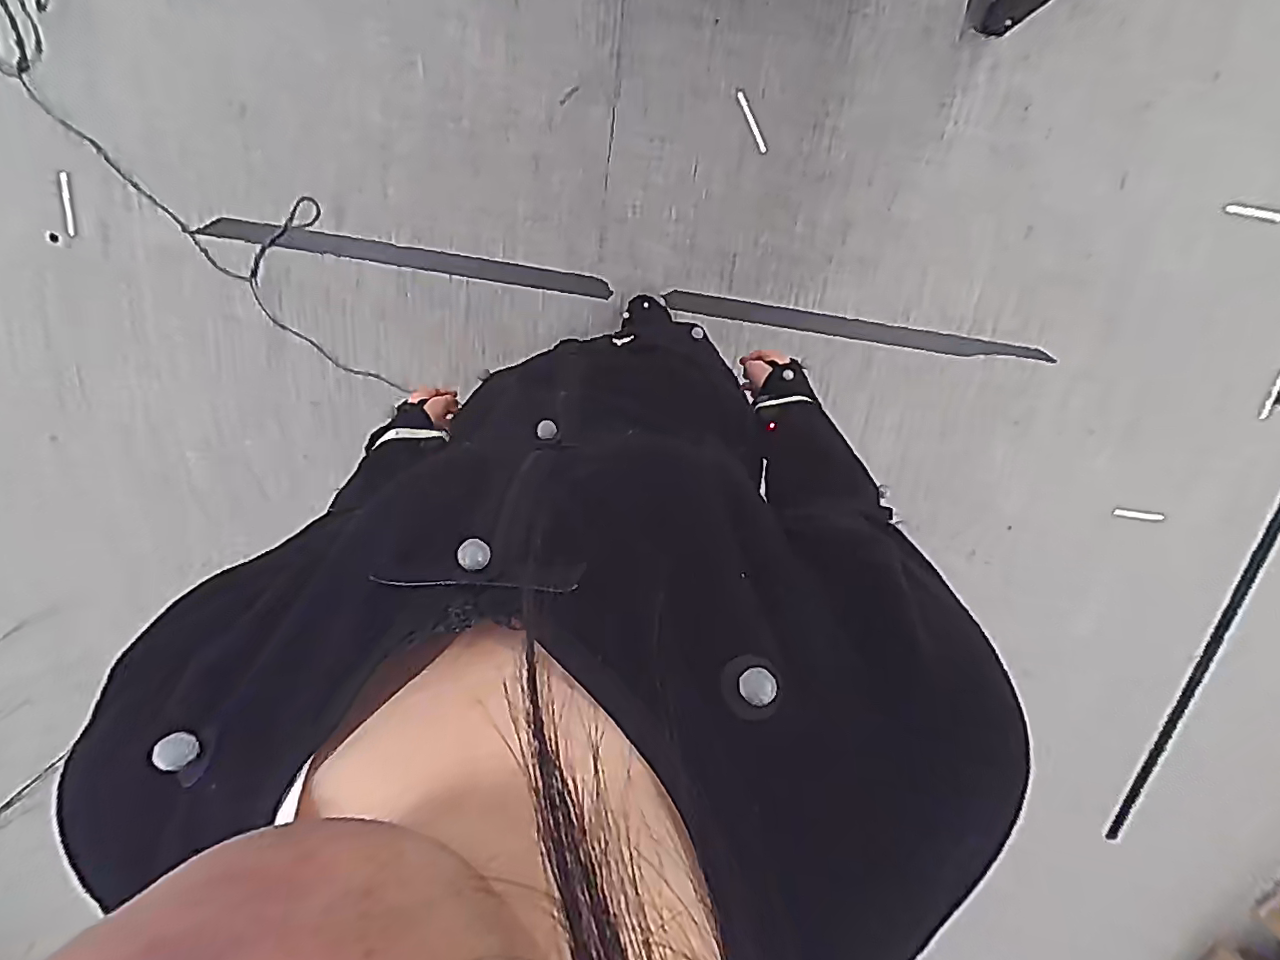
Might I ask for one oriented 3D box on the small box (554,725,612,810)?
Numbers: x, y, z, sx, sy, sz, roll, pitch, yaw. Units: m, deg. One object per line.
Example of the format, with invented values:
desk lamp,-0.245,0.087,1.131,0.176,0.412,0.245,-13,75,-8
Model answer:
small box,-0.178,0.900,1.706,0.168,0.176,0.179,4,107,-2
